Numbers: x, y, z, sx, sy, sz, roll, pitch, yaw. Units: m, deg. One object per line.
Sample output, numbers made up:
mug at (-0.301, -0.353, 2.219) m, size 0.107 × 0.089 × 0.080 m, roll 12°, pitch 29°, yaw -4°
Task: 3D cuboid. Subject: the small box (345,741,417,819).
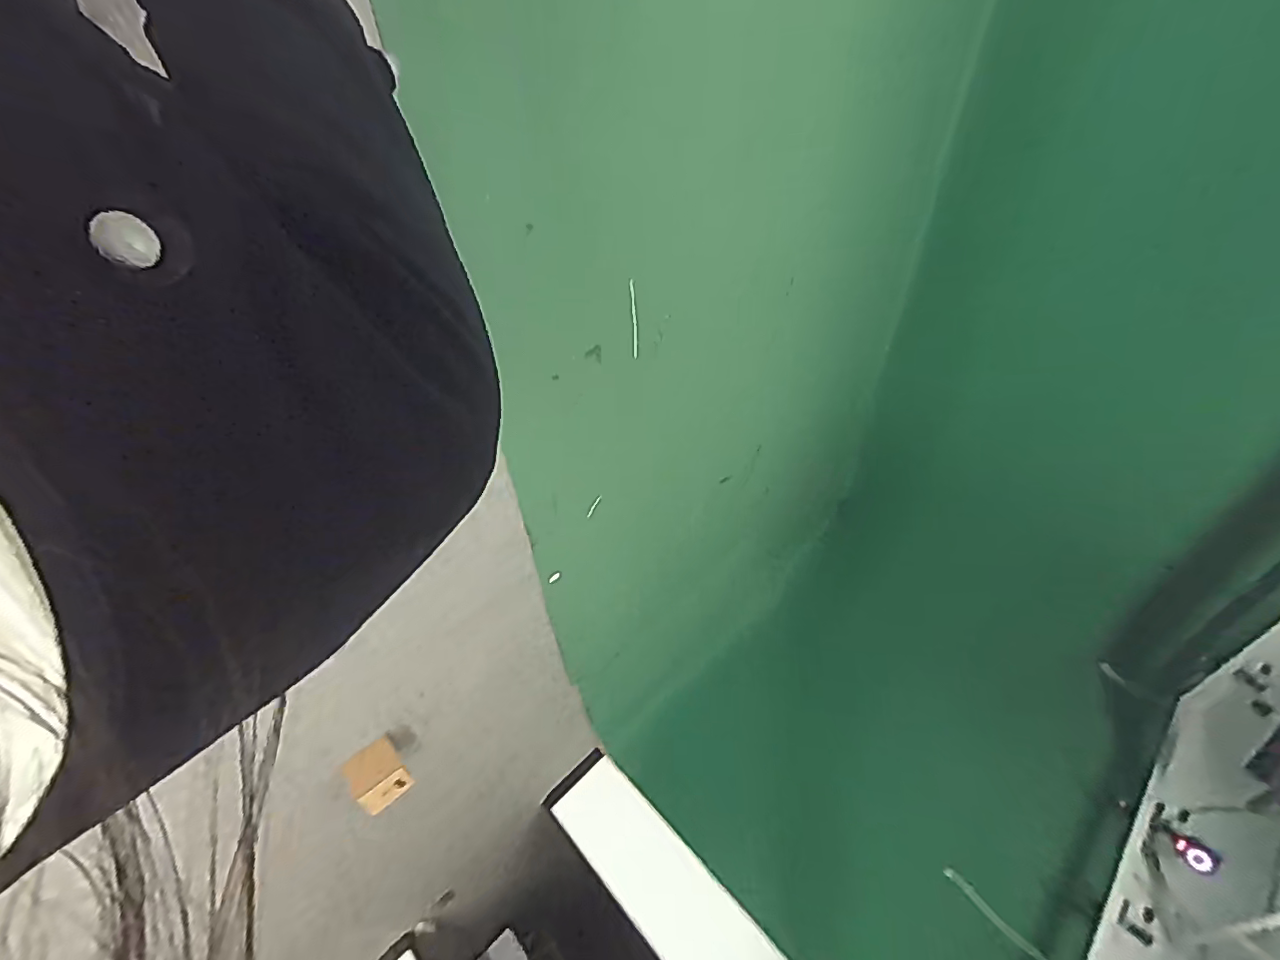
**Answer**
small box at (-1.005, 1.156, 2.094) m, size 0.179 × 0.176 × 0.168 m, roll -32°, pitch 138°, yaw -29°
